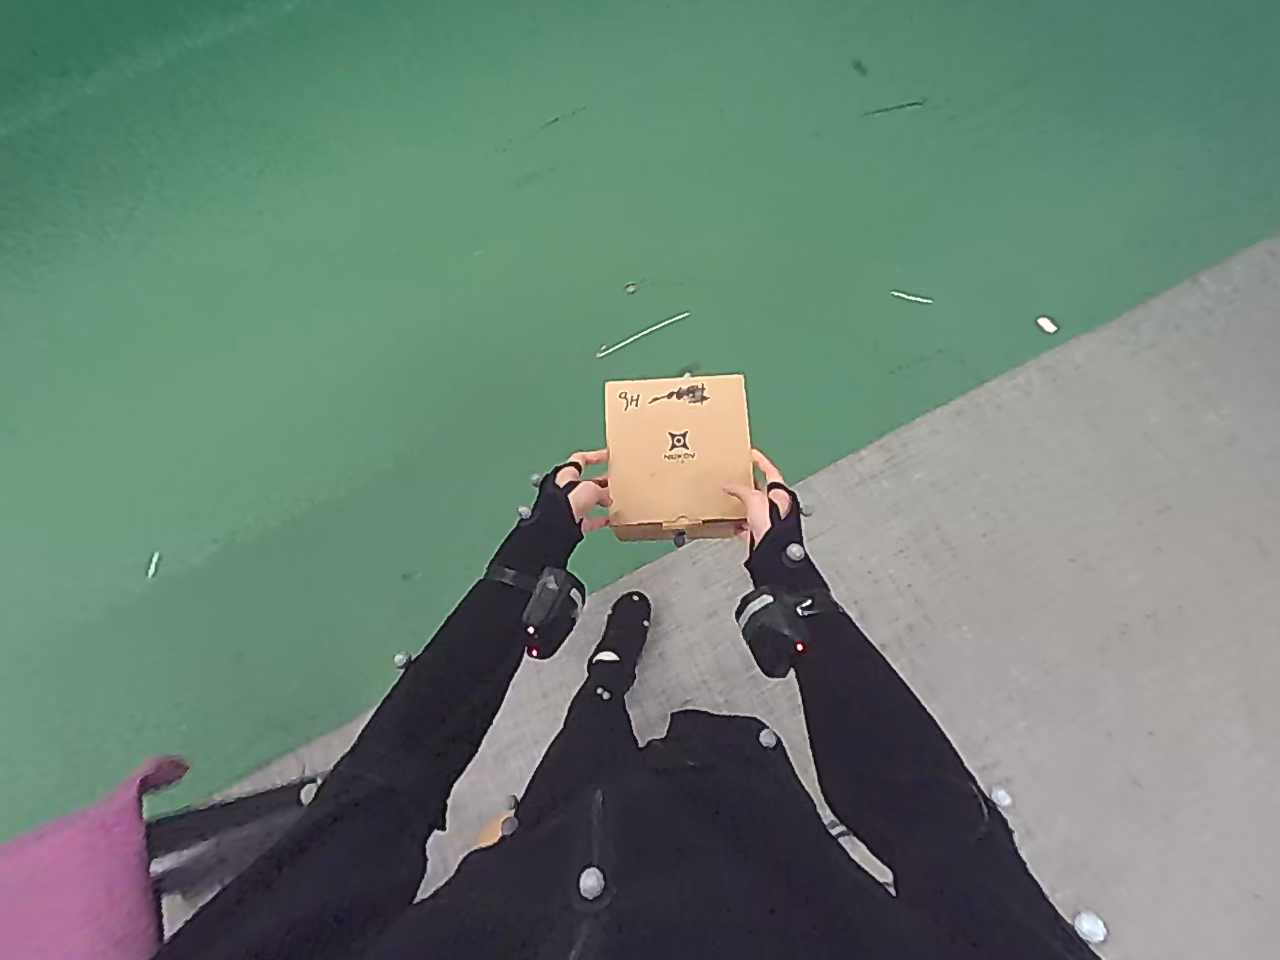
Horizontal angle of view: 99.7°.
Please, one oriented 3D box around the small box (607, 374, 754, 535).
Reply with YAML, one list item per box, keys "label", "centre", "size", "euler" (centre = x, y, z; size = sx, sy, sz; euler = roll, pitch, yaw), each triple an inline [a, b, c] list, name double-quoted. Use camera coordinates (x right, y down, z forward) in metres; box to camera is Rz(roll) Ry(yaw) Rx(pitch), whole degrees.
- label: "small box"
  centre: [0.048, -0.022, 0.693]
  size: [0.168, 0.176, 0.179]
  euler: [-2, 78, 2]
